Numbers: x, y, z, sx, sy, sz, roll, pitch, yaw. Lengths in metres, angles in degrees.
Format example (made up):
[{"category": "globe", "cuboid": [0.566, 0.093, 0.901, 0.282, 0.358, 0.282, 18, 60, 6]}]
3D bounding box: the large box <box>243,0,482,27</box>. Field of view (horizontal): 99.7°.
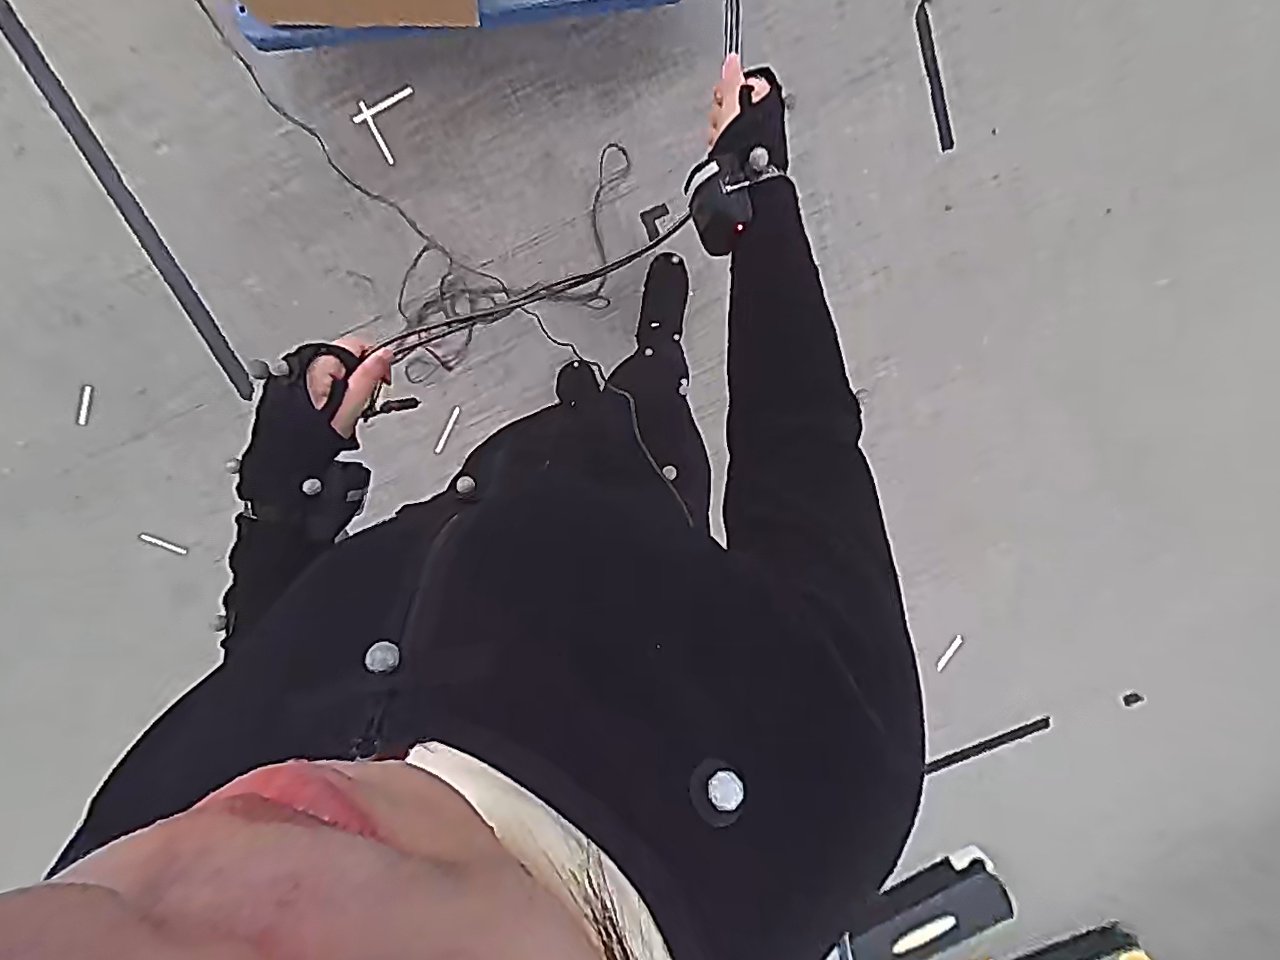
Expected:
[{"category": "large box", "cuboid": [-0.497, -0.967, 0.844, 0.408, 0.320, 0.320, -2, 106, -2]}]
